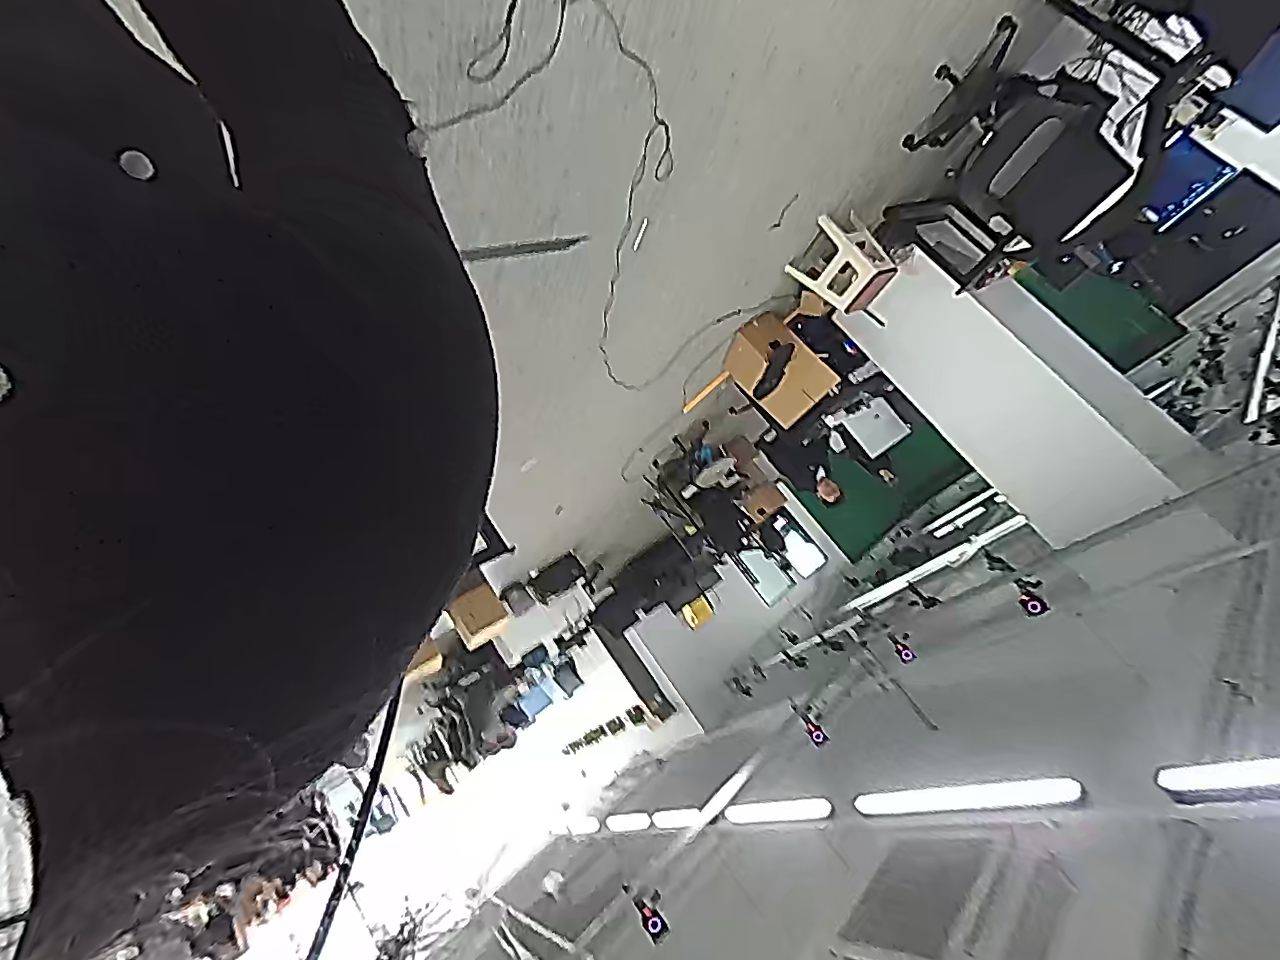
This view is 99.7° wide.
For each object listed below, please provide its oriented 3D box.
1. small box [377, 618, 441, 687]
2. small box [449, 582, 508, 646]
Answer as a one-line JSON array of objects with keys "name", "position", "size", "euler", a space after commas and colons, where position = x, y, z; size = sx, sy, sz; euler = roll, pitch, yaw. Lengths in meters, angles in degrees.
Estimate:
[{"name": "small box", "position": [-0.866, 0.643, 2.026], "size": [0.168, 0.176, 0.179], "euler": [-28, 162, -34]}, {"name": "small box", "position": [-0.660, 0.539, 2.198], "size": [0.168, 0.176, 0.179], "euler": [-27, 163, -33]}]
